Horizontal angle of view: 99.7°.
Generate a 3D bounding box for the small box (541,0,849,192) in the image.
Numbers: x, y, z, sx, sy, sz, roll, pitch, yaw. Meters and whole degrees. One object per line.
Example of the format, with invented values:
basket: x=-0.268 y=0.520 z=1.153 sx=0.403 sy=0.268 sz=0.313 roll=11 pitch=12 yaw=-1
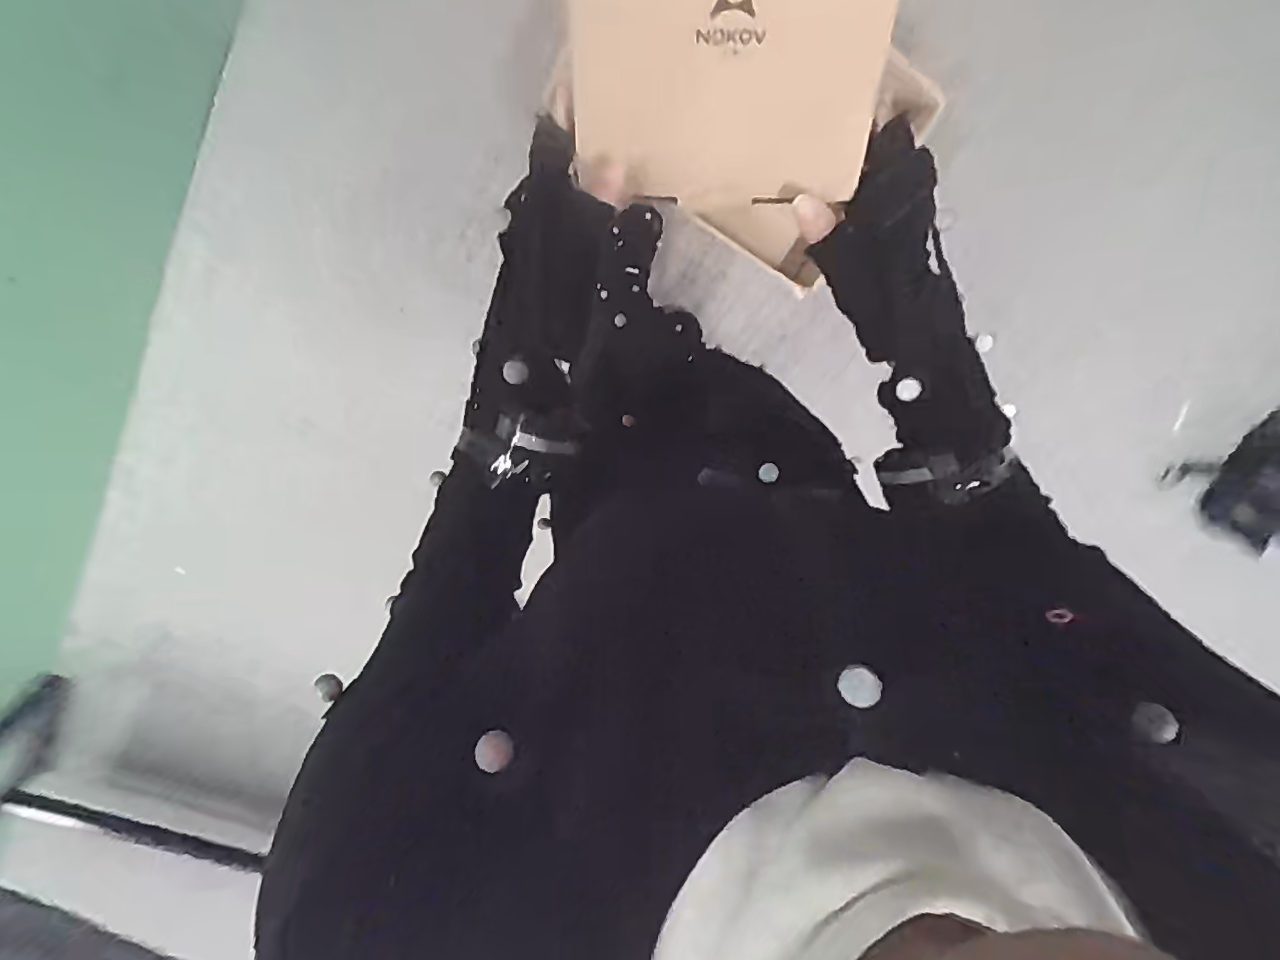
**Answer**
small box: x=0.032 y=-0.303 z=0.348 sx=0.168 sy=0.176 sz=0.179 roll=-1 pitch=129 yaw=3
